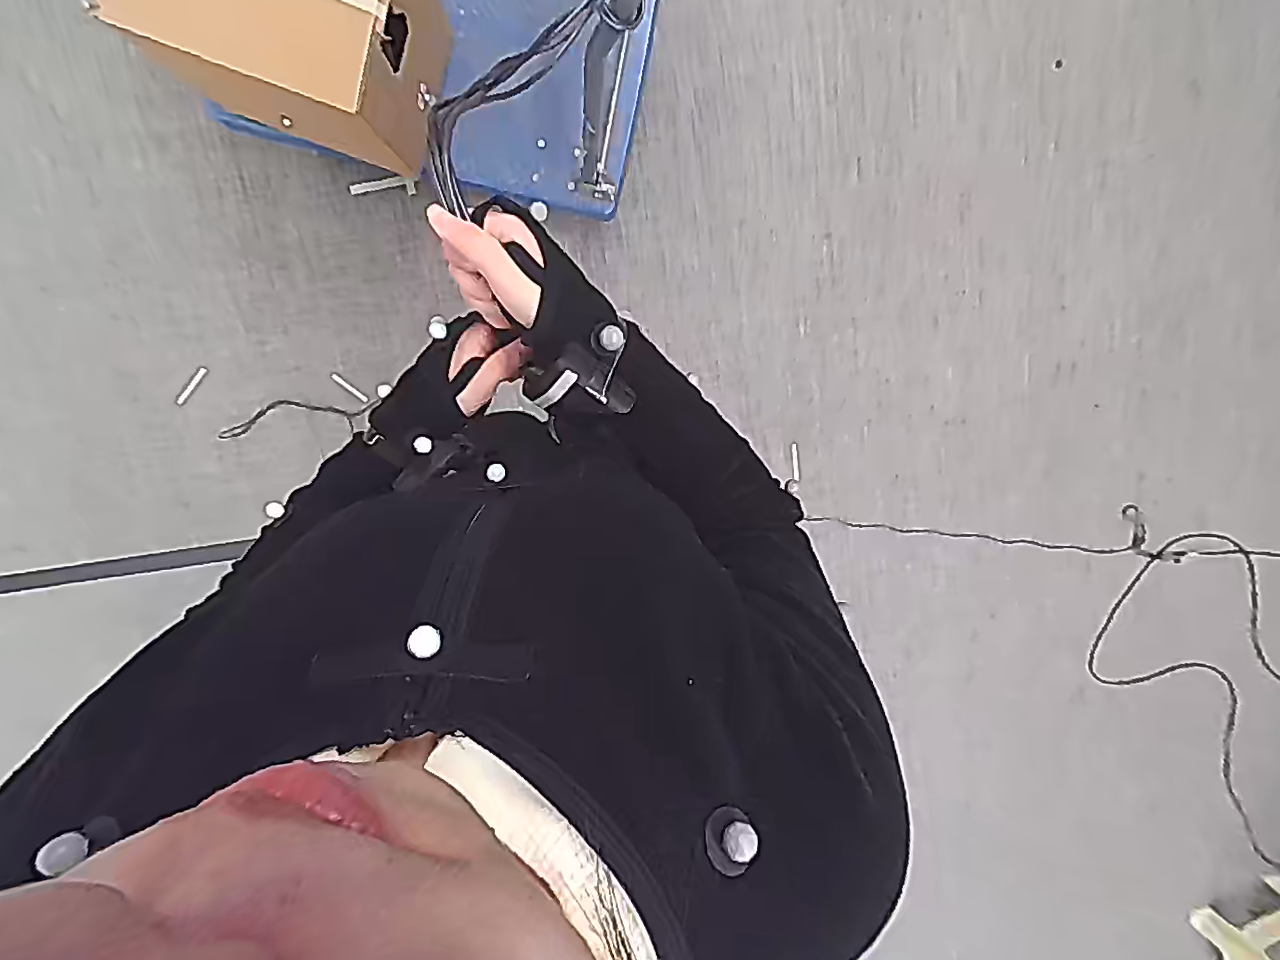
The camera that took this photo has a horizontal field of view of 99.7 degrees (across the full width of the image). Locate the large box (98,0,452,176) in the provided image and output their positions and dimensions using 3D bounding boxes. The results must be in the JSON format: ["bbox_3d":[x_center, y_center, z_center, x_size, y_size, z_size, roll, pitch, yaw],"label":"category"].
[{"bbox_3d":[-0.603,-0.812,0.967,0.408,0.320,0.320,17,99,-6],"label":"large box"}]
